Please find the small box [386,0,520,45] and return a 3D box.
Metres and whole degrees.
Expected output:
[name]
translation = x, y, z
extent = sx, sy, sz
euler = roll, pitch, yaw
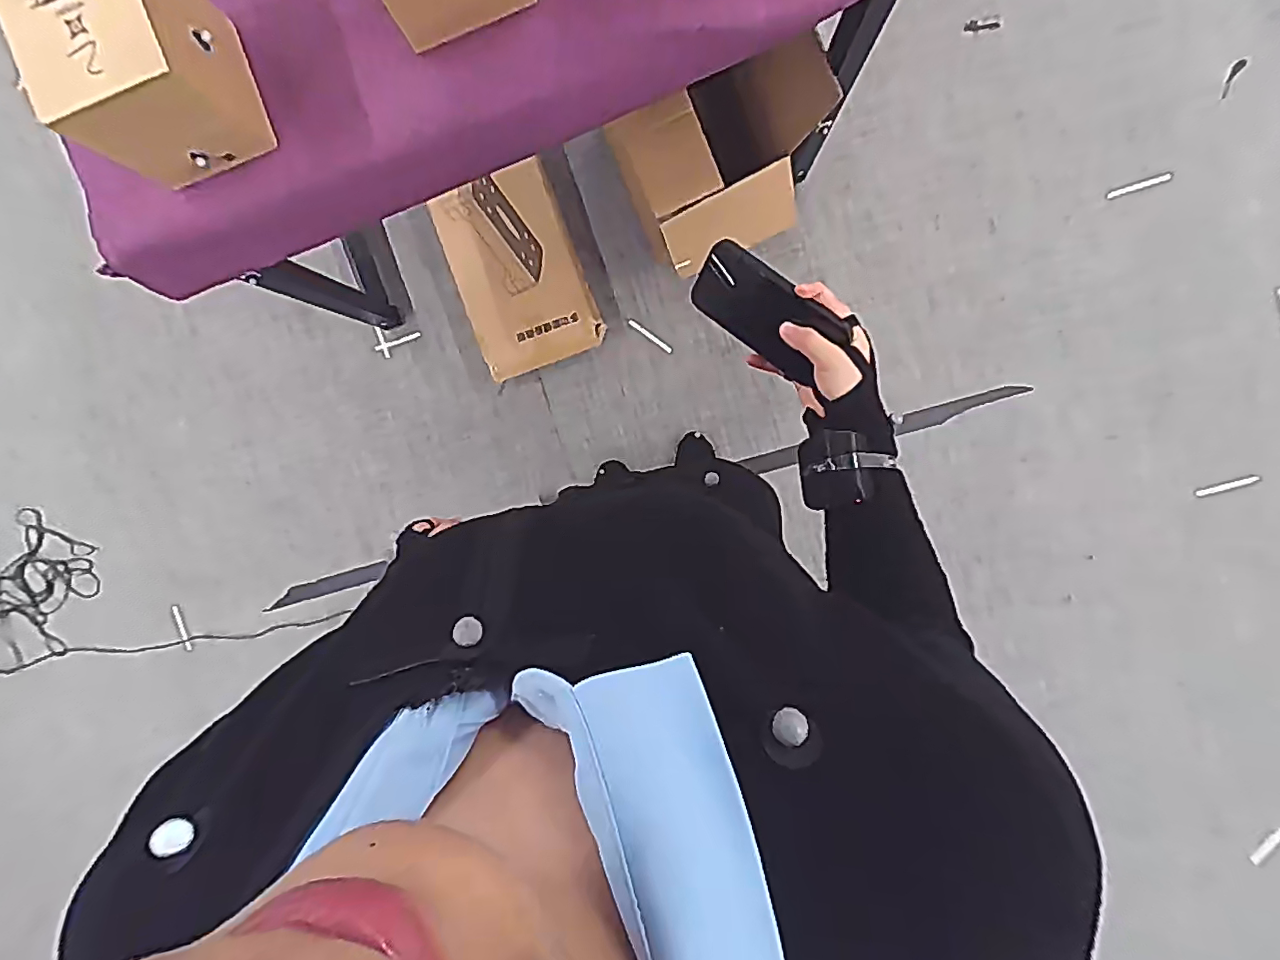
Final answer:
[small box]
translation = -0.242, -0.663, 0.620
extent = 0.179, 0.176, 0.168
euler = -19, 92, 5
